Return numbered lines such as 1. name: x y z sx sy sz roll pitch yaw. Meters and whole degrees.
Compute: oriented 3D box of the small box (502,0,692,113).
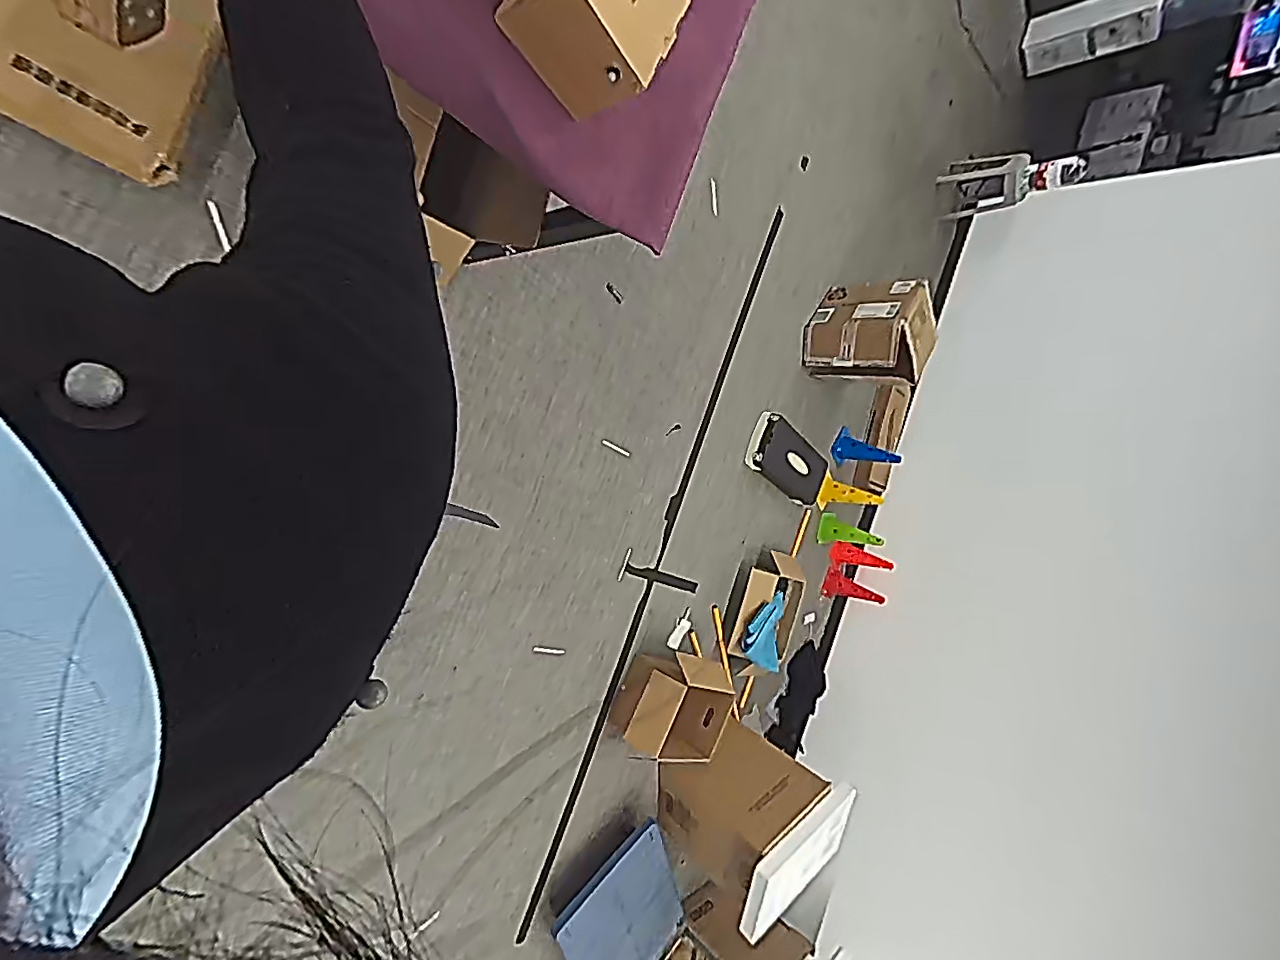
1. small box: -0.063 -0.669 0.766 0.179 0.176 0.168 33 78 -45
